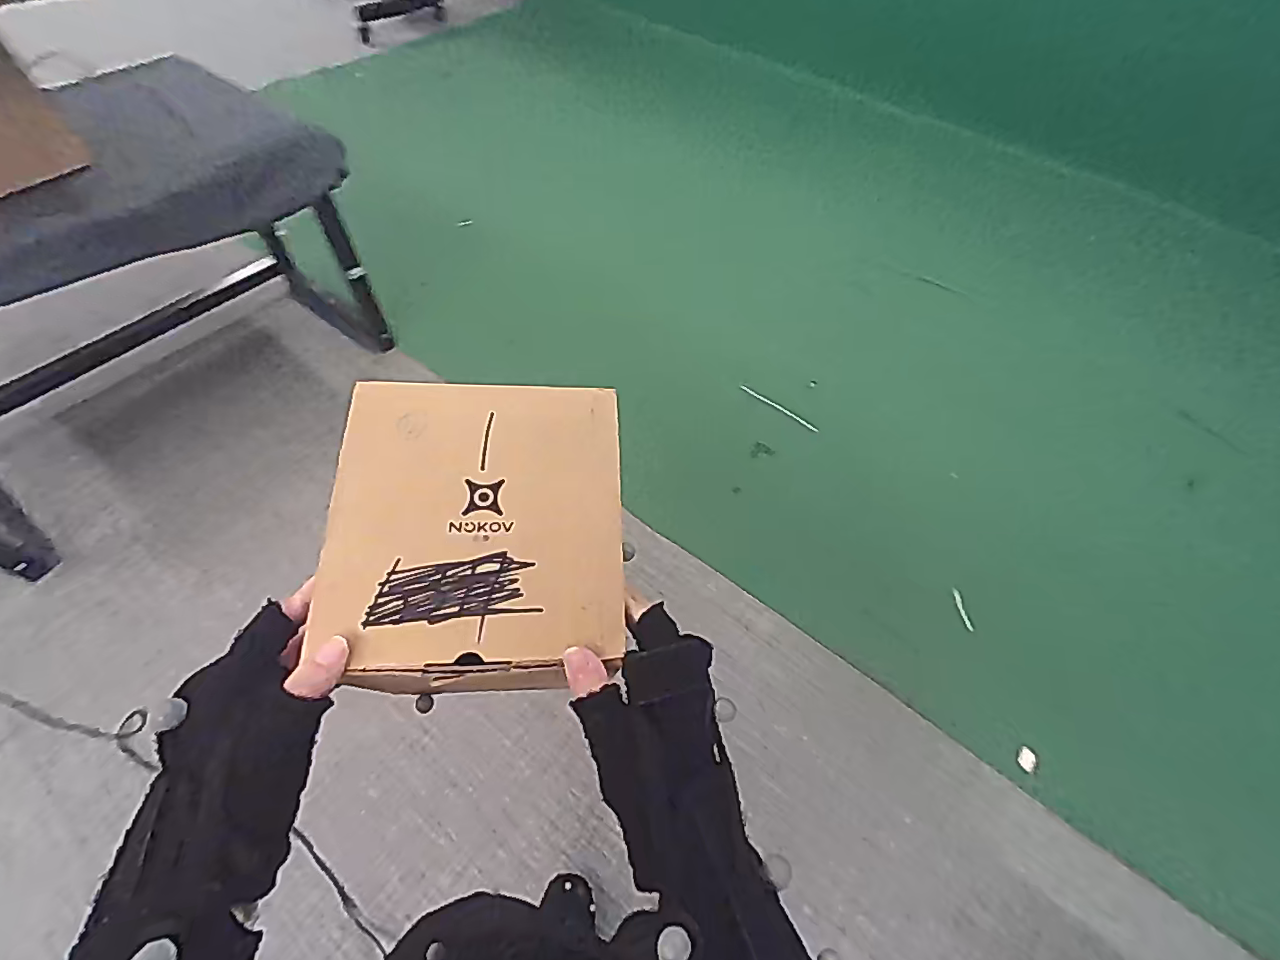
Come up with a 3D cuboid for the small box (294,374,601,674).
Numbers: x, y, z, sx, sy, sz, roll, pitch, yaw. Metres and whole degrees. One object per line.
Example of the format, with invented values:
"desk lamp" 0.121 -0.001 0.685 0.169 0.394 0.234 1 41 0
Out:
"small box" -0.113 0.044 0.396 0.168 0.176 0.179 0 64 -7
